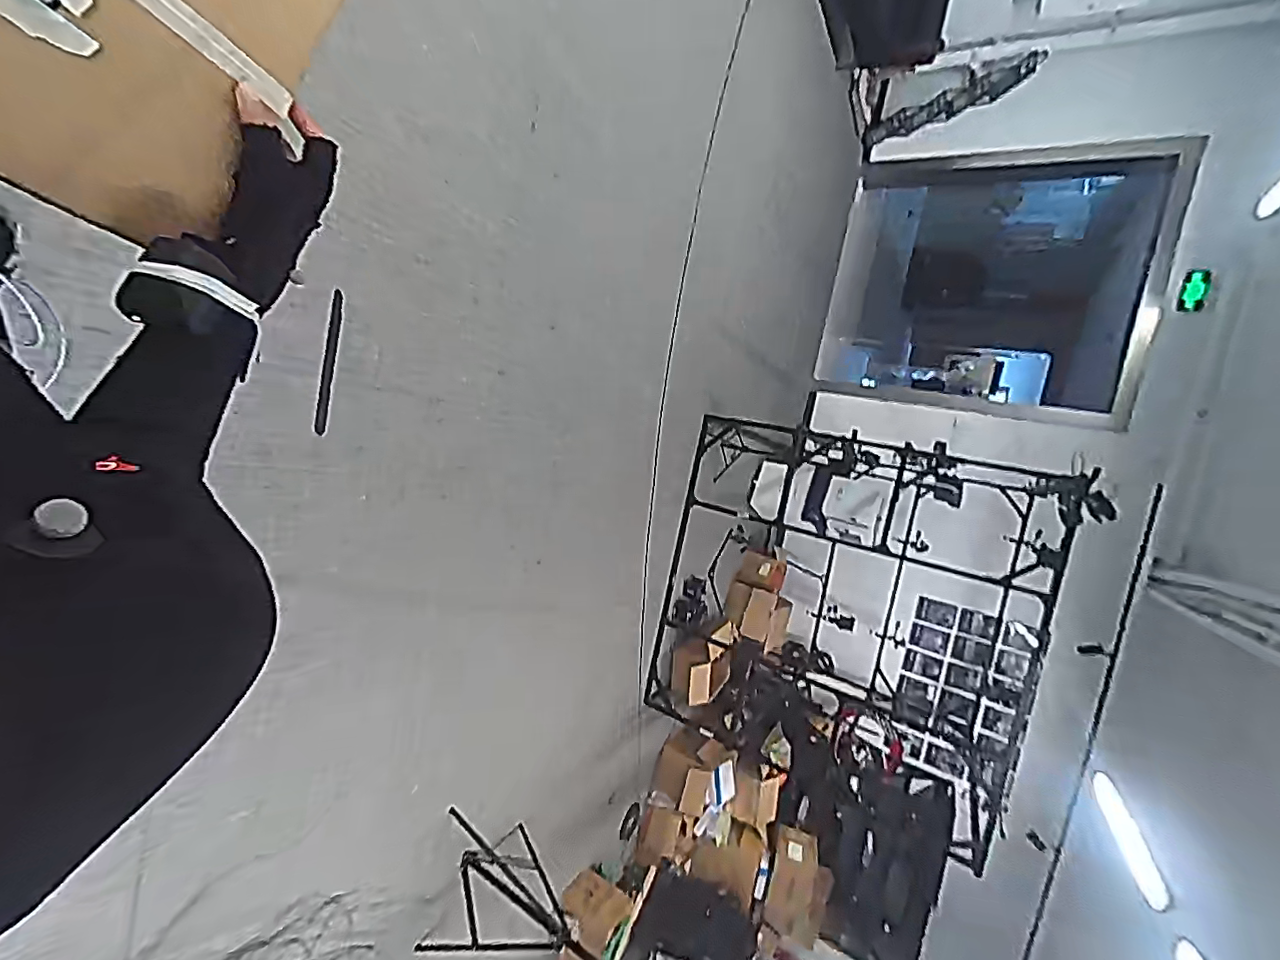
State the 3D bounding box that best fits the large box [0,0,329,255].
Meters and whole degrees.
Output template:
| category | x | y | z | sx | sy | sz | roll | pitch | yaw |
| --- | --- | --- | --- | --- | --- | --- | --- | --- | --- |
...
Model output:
| category | x | y | z | sx | sy | sz | roll | pitch | yaw |
| --- | --- | --- | --- | --- | --- | --- | --- | --- | --- |
| large box | -0.511 | -0.422 | 0.356 | 0.320 | 0.320 | 0.408 | -63 | 152 | 0 |
